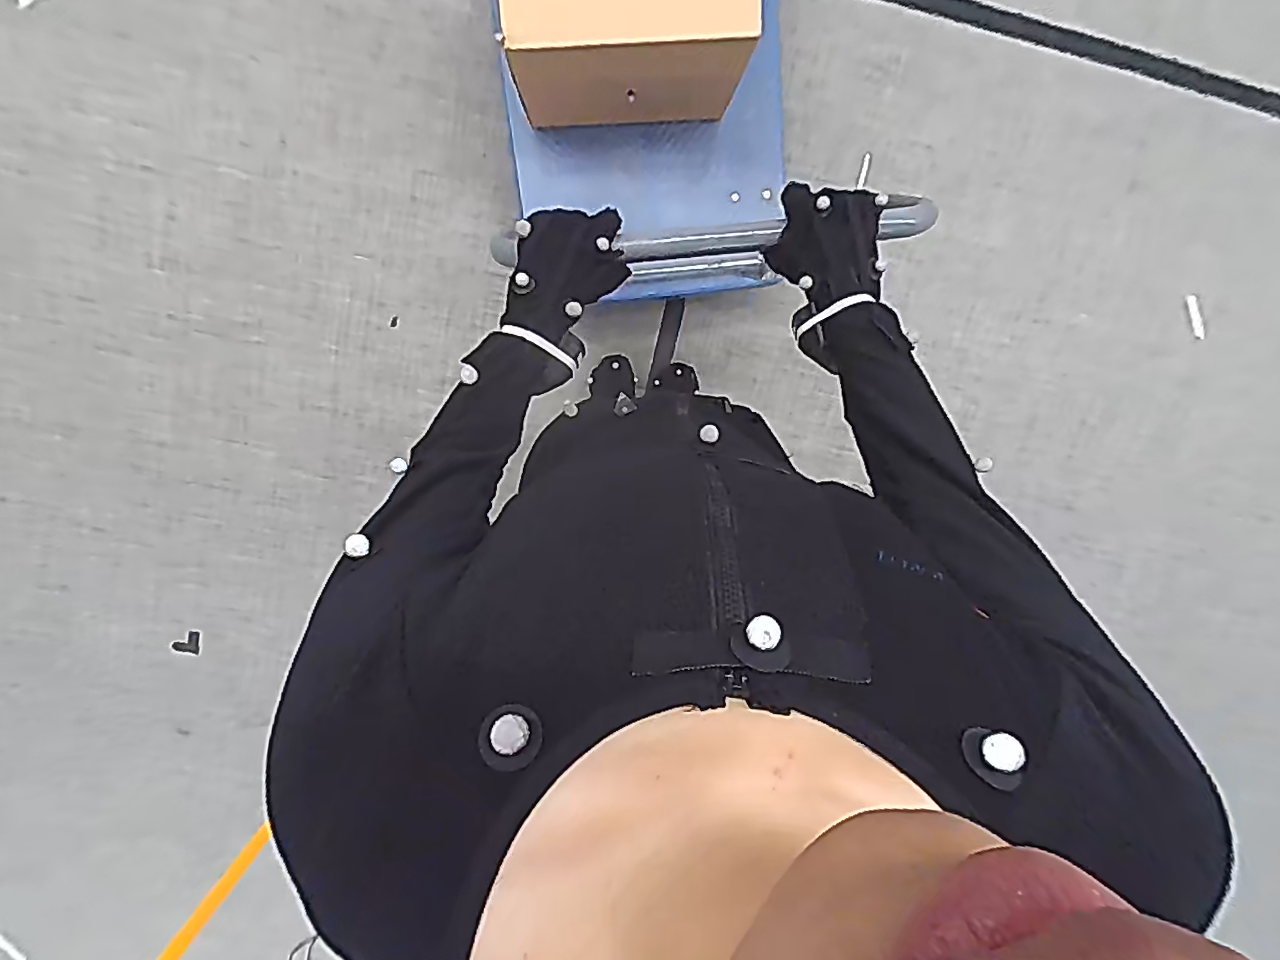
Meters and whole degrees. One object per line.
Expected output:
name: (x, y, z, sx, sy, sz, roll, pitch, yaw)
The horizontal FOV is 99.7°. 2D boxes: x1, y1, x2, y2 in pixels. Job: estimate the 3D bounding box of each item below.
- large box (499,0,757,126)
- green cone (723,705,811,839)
large box: (-0.029, -0.863, 0.954, 0.408, 0.320, 0.320, -4, 103, -1)
green cone: (0.387, 0.840, 1.518, 0.202, 0.368, 0.200, 15, 102, -8)
